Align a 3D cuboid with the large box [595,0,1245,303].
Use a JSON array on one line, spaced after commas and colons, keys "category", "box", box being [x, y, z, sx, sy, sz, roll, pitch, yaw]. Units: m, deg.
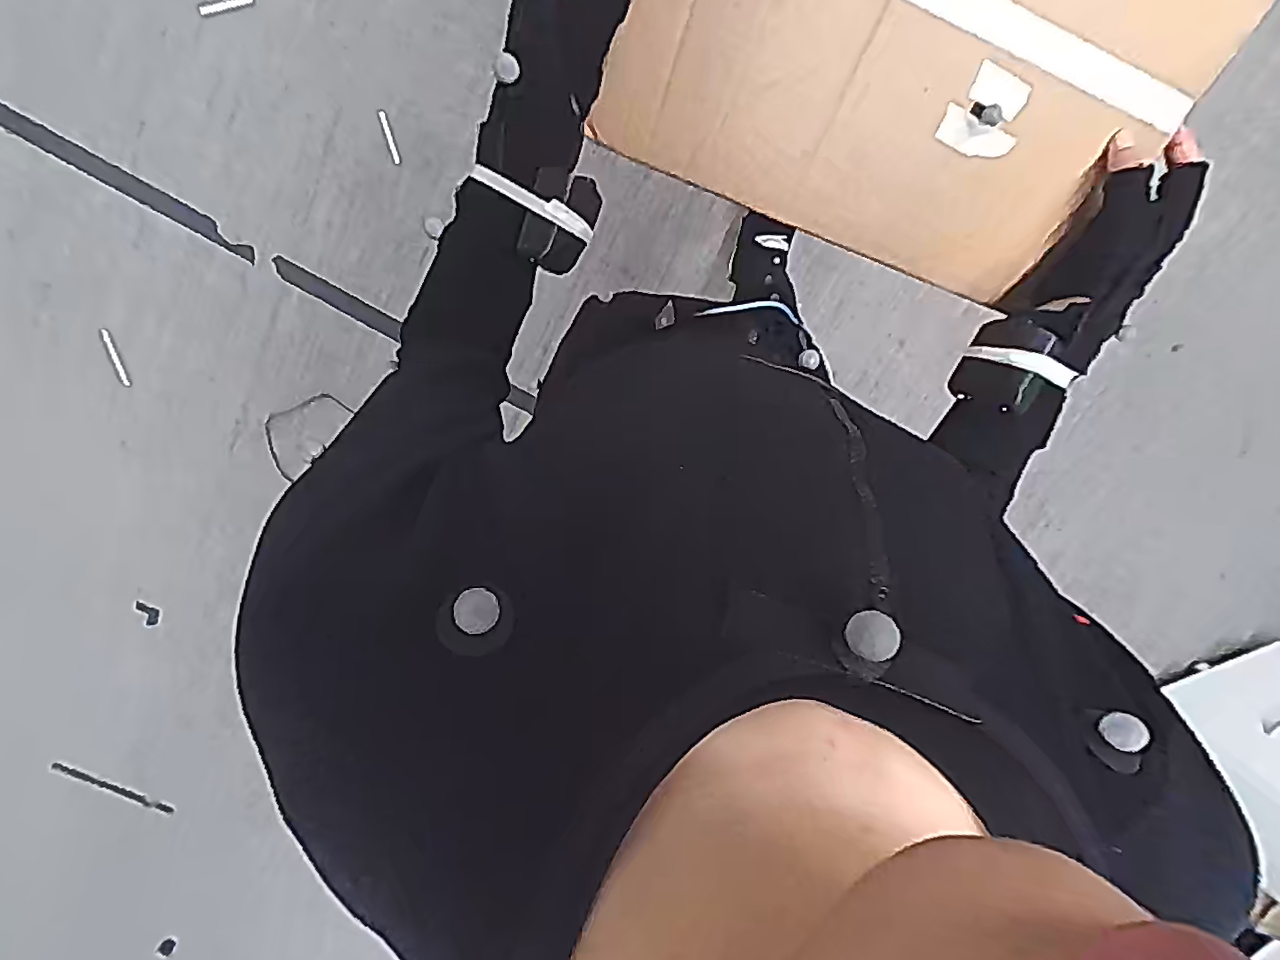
[{"category": "large box", "box": [0.197, -0.414, 0.488, 0.408, 0.320, 0.320, 16, 126, -12]}]
